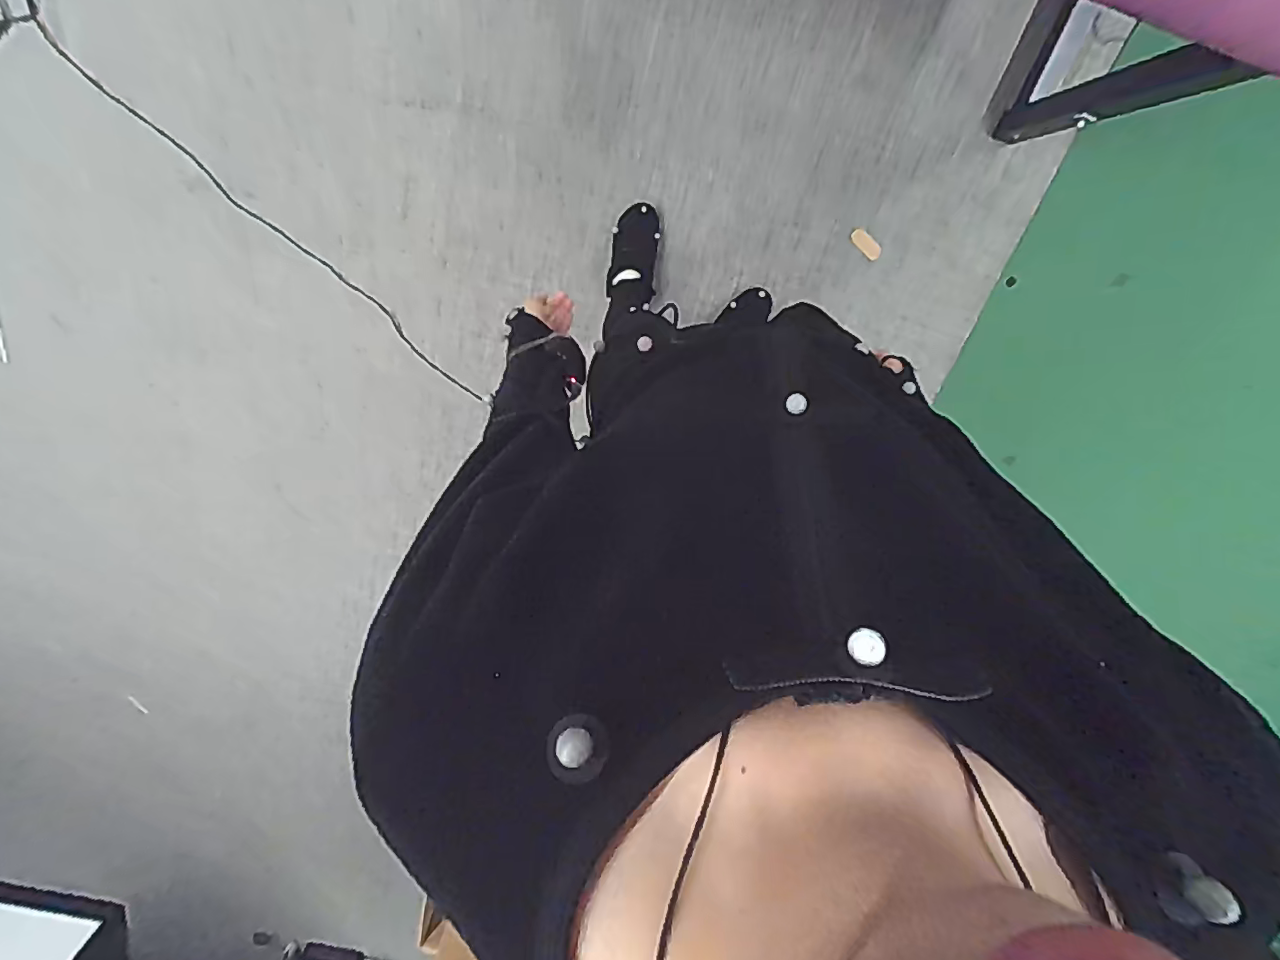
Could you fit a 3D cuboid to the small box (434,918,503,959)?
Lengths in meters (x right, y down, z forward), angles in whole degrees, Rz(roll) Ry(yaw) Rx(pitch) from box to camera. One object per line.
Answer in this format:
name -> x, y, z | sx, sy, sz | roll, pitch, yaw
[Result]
small box -> -0.480, 1.346, 1.479 | 0.168, 0.176, 0.179 | 9, 112, -2
